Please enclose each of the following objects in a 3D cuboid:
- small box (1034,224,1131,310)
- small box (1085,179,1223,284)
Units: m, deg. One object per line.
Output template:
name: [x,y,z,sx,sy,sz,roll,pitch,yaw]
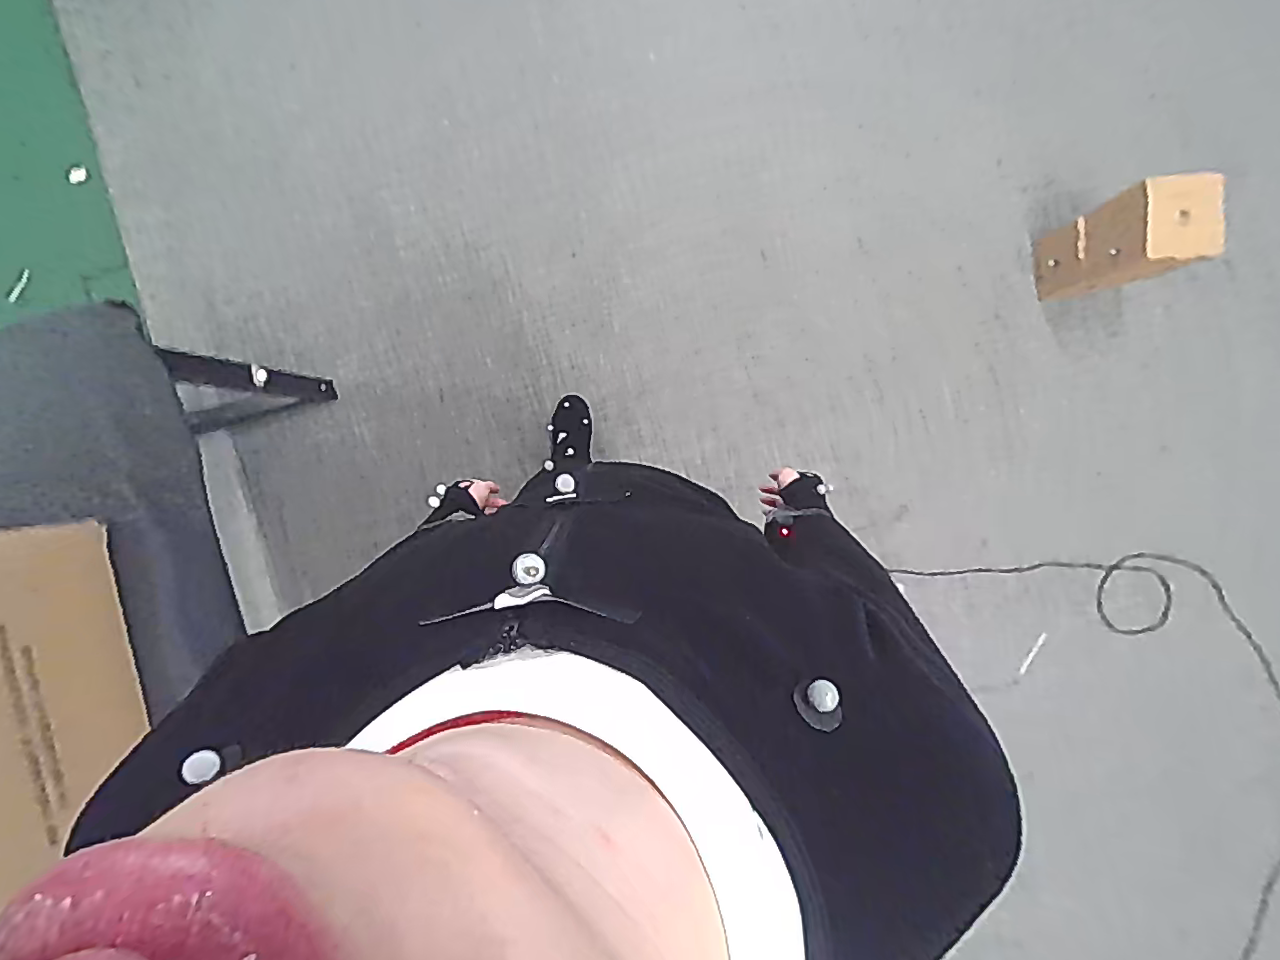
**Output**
small box: [1.182,-0.573,1.399,0.168,0.176,0.179,-37,90,2]
small box: [1.171,-0.561,1.244,0.168,0.176,0.179,-2,92,0]
